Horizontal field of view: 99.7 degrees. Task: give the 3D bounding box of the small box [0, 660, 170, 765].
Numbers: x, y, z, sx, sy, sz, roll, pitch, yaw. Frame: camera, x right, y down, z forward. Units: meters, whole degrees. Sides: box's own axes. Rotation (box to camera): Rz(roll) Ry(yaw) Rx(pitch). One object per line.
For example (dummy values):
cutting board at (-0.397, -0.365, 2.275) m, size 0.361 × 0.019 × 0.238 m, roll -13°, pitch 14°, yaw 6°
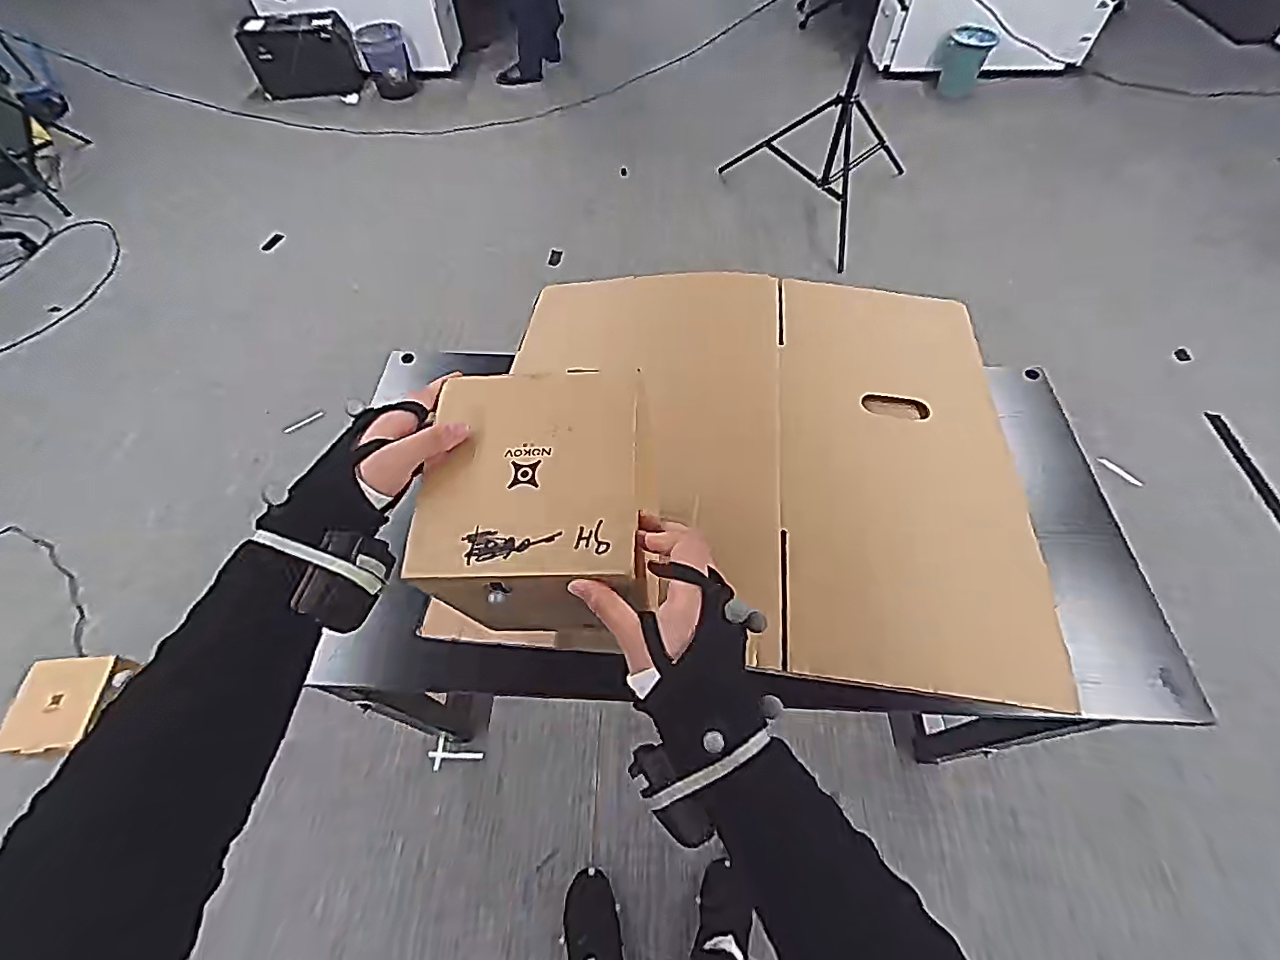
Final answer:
small box at (-1.160, 0.497, 1.144) m, size 0.168 × 0.176 × 0.179 m, roll -4°, pitch 56°, yaw -3°
